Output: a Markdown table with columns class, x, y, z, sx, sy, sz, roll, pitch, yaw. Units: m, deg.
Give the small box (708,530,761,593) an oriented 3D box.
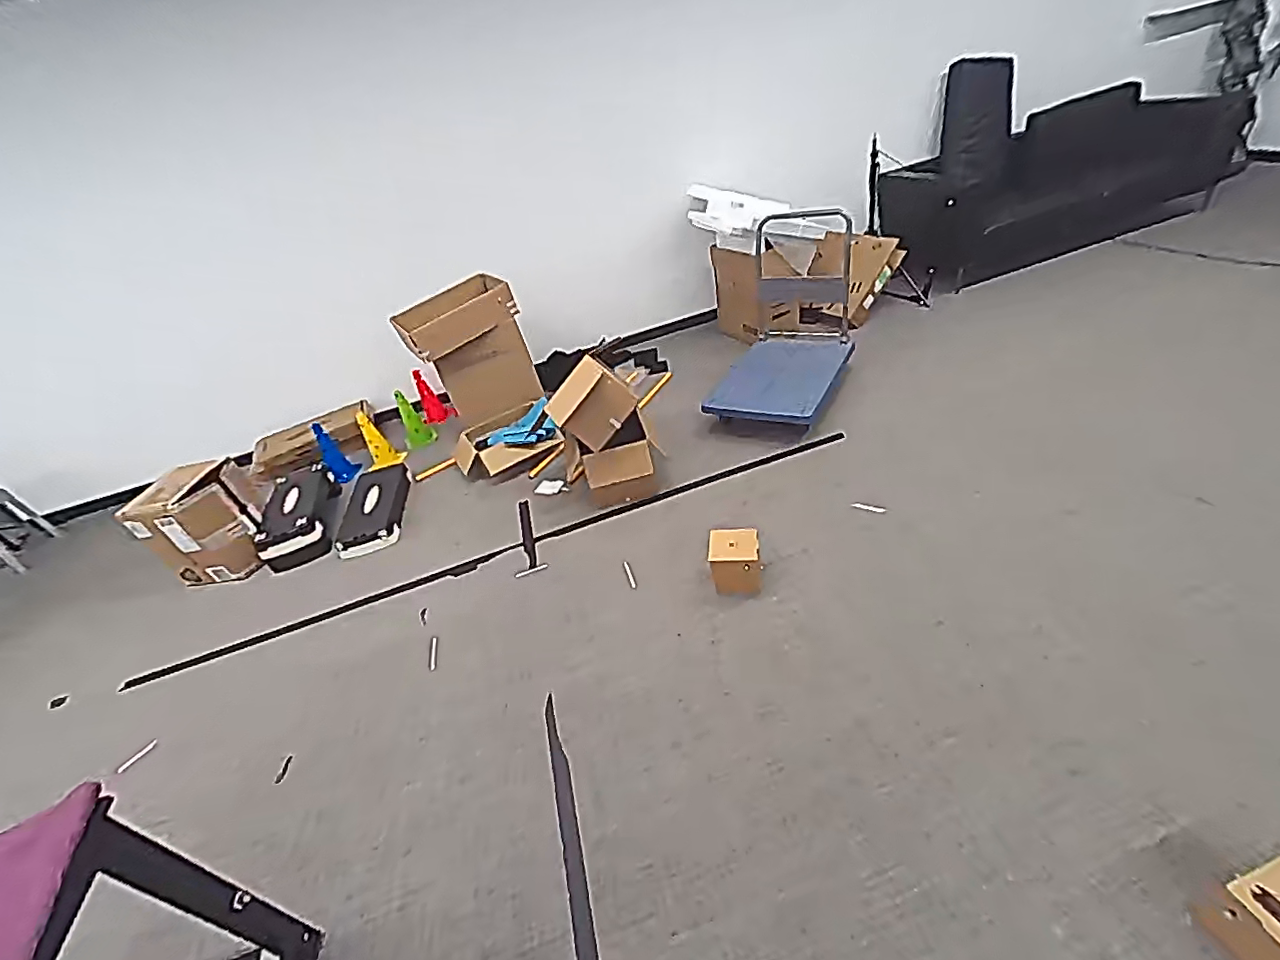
| class | x | y | z | sx | sy | sz | roll | pitch | yaw |
| --- | --- | --- | --- | --- | --- | --- | --- | --- | --- |
| small box | 0.356 | 0.306 | 2.012 | 0.179 | 0.176 | 0.168 | -4 | 36 | 14 |
